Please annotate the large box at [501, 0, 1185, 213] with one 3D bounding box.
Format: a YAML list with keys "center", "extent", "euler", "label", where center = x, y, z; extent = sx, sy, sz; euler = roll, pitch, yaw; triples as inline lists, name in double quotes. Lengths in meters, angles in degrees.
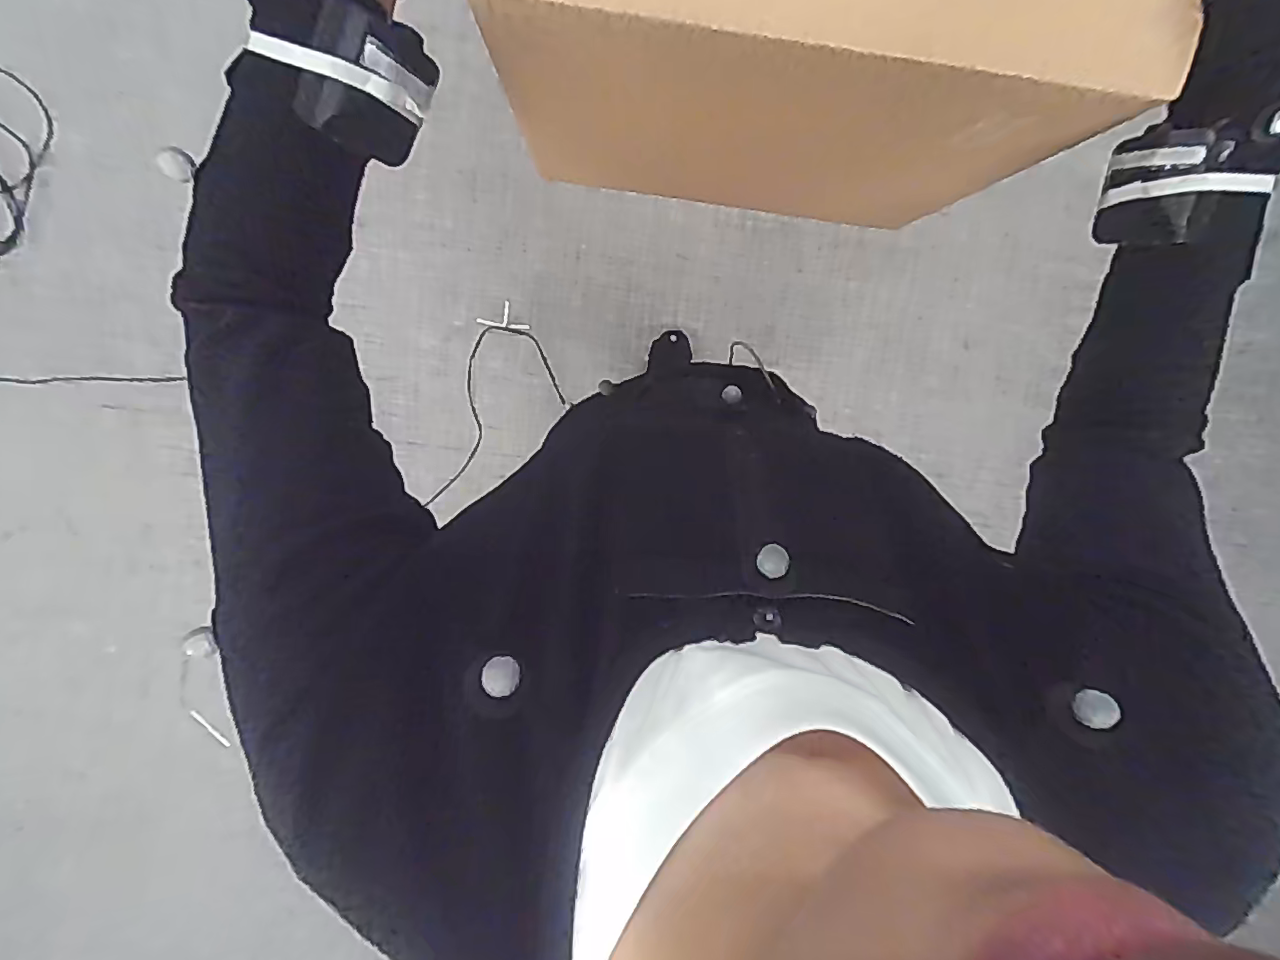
- center: [0.118, -0.430, 0.420]
  extent: [0.408, 0.320, 0.320]
  euler: [5, 103, -5]
  label: "large box"
